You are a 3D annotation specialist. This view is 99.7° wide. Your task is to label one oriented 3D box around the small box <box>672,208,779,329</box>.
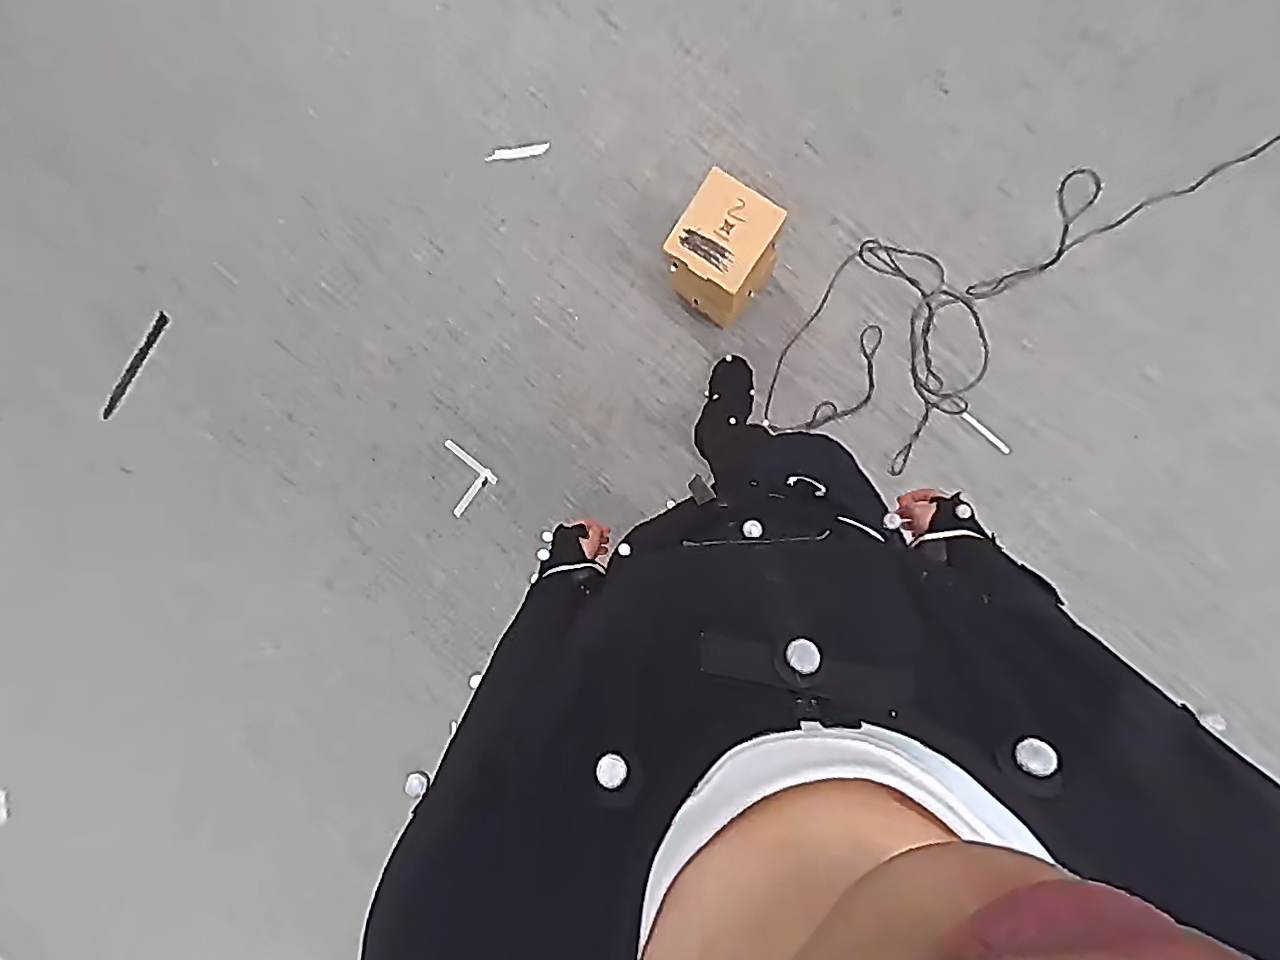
[{"bbox_3d":[0.195,-0.471,1.240,0.168,0.176,0.179,39,99,2],"label":"small box"}]
